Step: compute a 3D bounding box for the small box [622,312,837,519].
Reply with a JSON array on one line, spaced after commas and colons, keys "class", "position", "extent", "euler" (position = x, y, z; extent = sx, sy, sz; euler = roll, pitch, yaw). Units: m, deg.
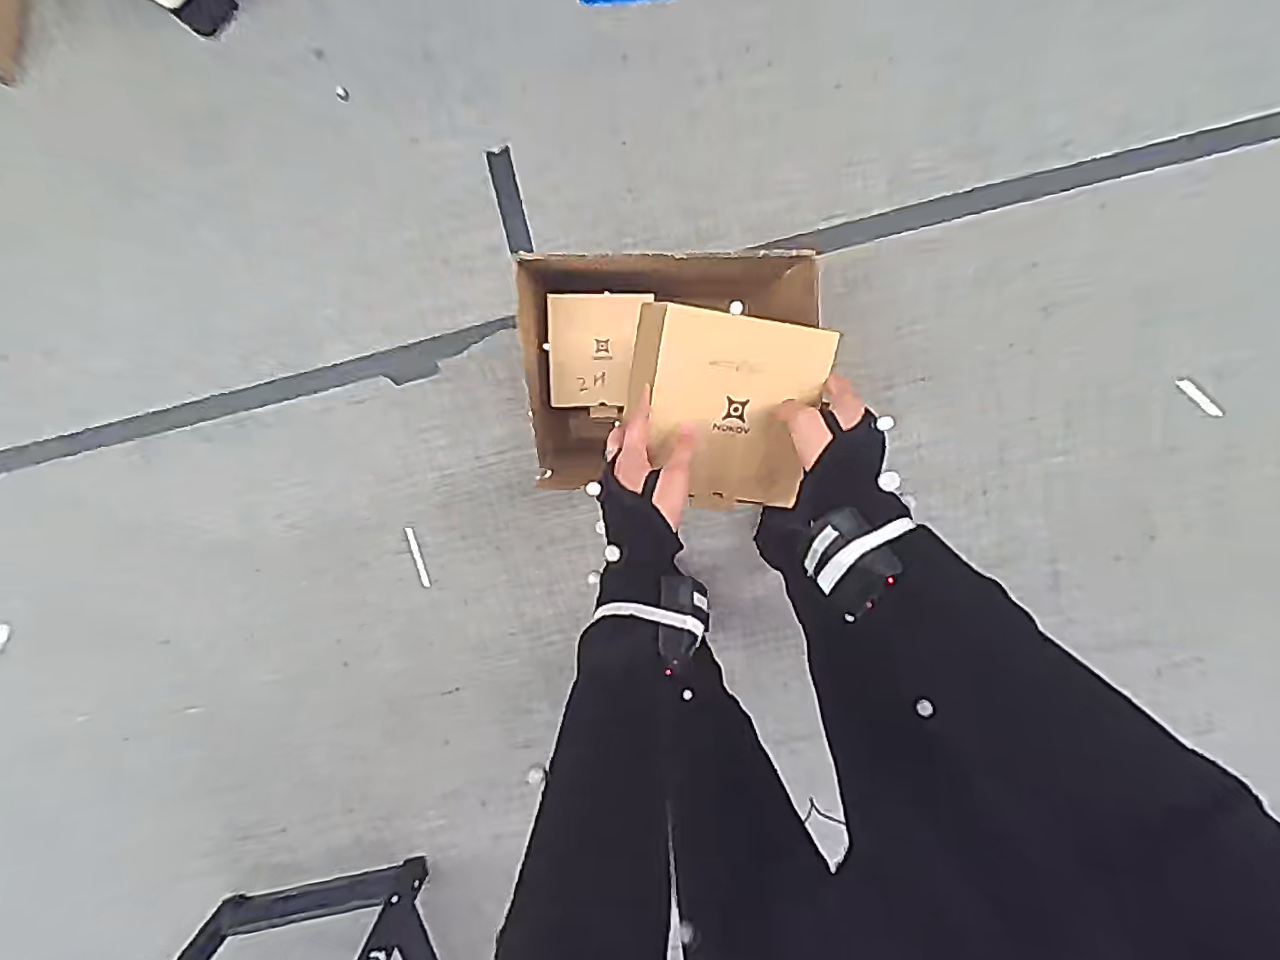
[{"class": "small box", "position": [0.077, -0.076, 0.579], "extent": [0.168, 0.176, 0.179], "euler": [7, 106, -11]}]
